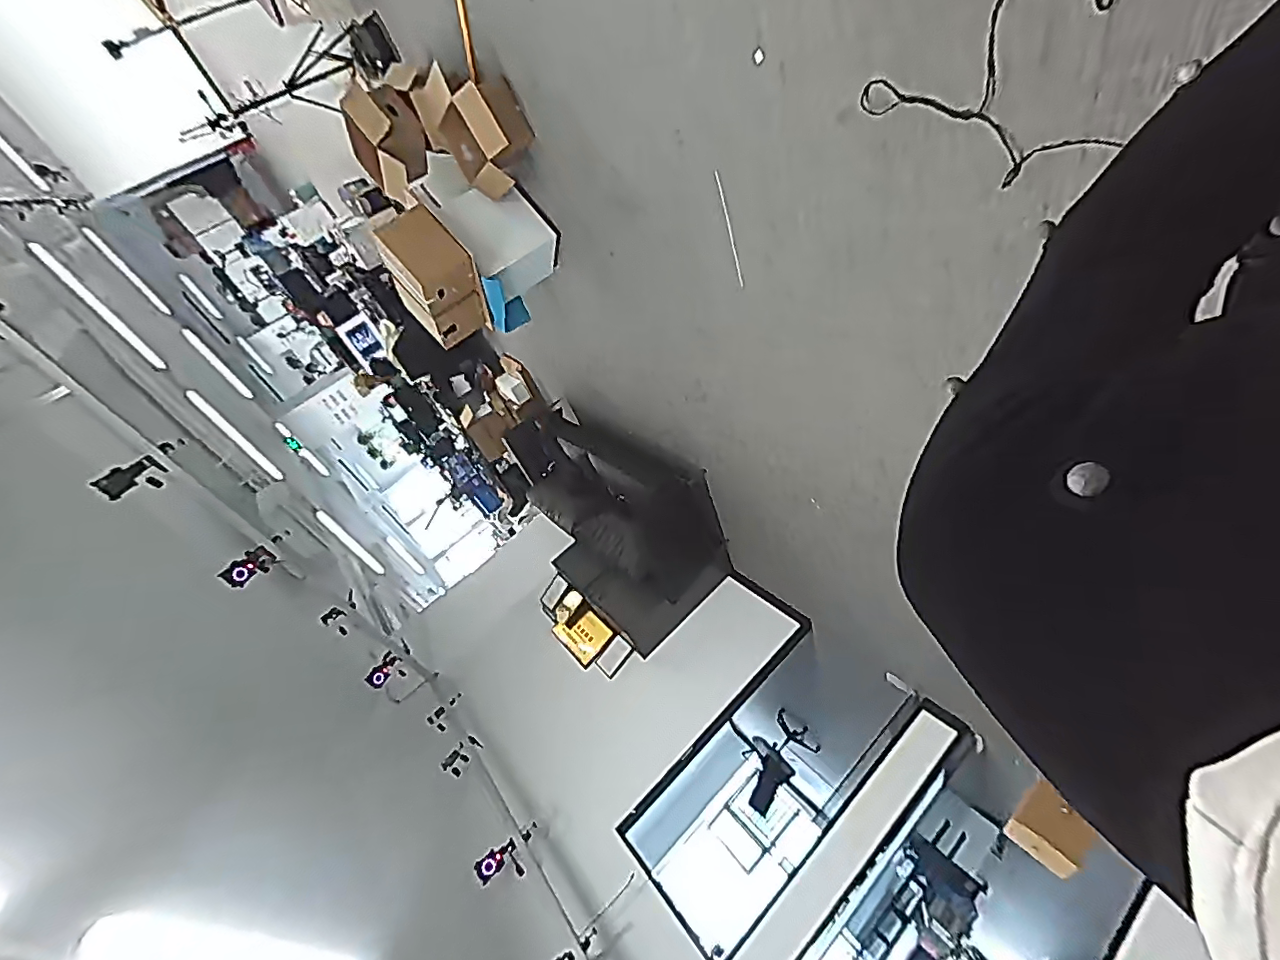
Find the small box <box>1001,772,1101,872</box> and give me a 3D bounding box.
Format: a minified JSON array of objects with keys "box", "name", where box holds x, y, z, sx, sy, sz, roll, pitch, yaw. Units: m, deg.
[{"box":[1.217,1.011,1.603,0.168,0.176,0.179,34,155,40],"name":"small box"}]
